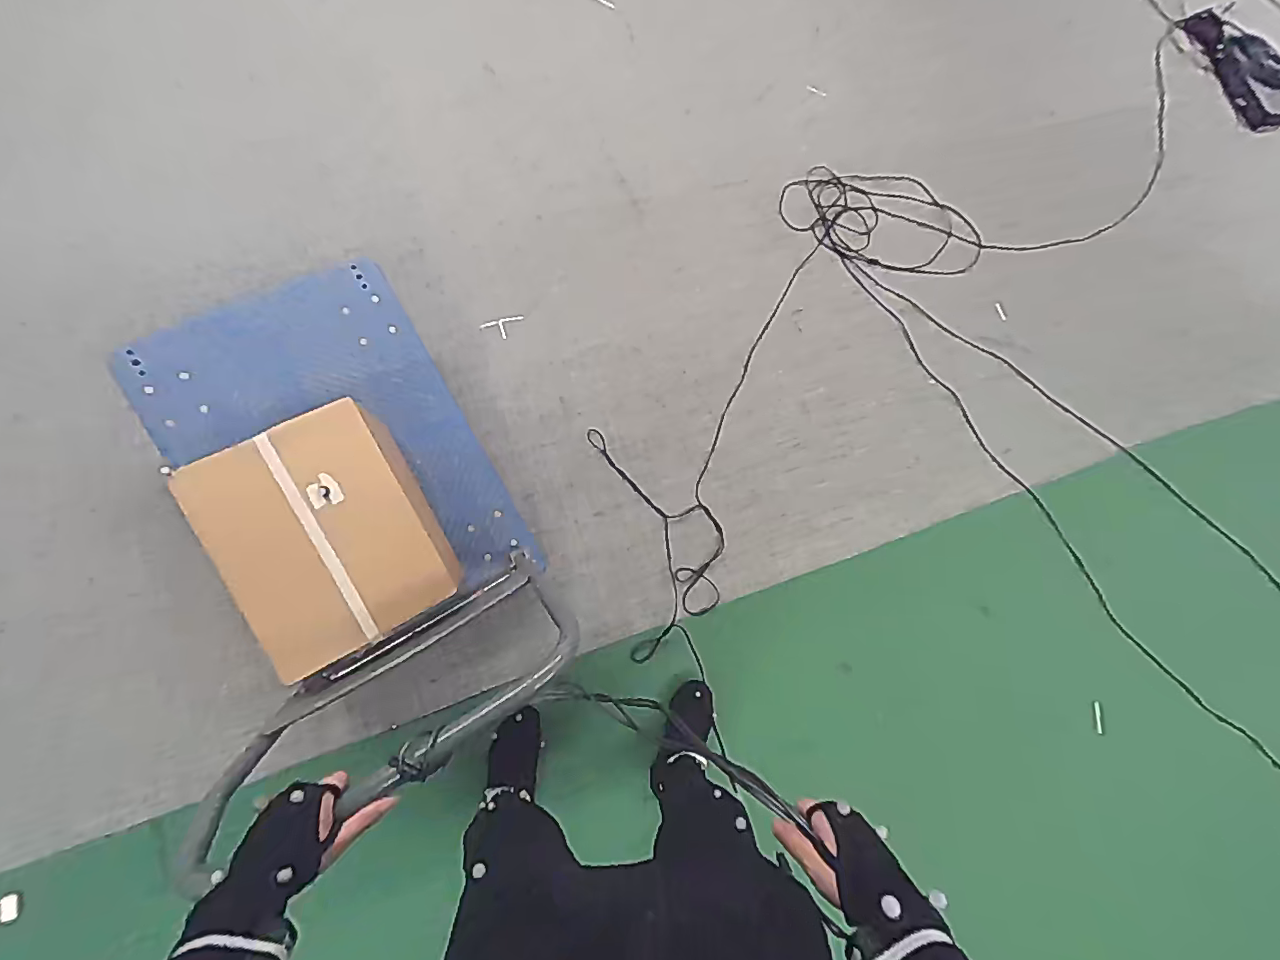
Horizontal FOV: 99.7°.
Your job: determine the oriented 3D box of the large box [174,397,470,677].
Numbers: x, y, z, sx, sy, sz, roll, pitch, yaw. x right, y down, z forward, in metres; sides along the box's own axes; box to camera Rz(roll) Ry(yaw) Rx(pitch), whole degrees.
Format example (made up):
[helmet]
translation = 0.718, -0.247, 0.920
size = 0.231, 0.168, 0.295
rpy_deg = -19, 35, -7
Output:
[large box]
translation = -0.582, 0.104, 1.082
size = 0.320, 0.320, 0.408
rpy_deg = -29, 93, -16
